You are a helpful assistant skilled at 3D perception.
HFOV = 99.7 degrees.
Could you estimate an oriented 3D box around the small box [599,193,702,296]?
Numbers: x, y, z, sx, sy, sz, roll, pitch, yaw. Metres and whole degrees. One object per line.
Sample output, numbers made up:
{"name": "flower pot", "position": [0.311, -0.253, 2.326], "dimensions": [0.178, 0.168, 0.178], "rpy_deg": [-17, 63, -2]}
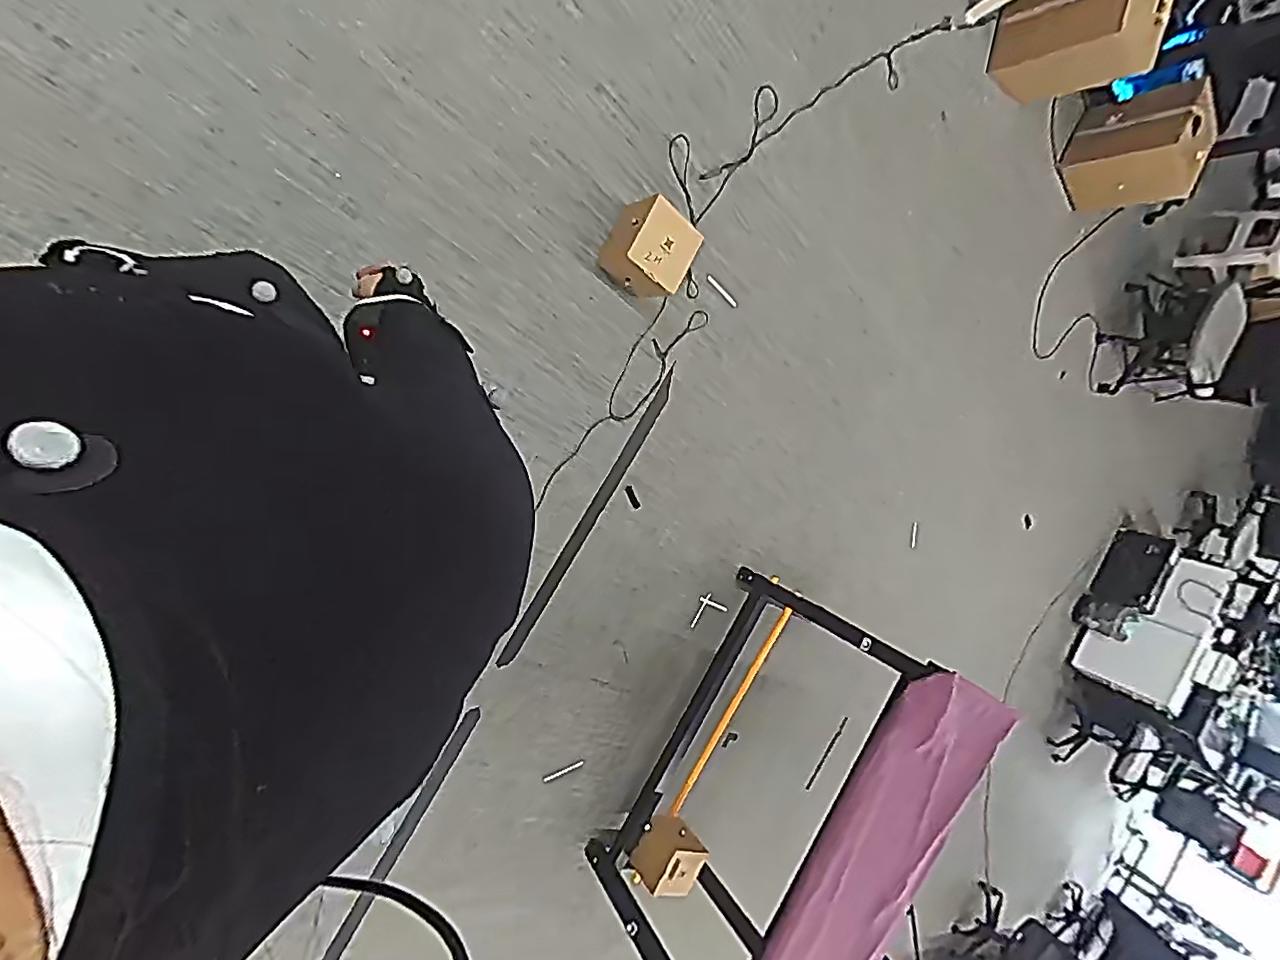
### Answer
{"name": "small box", "position": [0.020, -0.598, 1.393], "dimensions": [0.168, 0.176, 0.179], "rpy_deg": [29, 88, -34]}

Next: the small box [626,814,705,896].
{"name": "small box", "position": [0.084, 1.285, 1.860], "dimensions": [0.179, 0.176, 0.168], "rpy_deg": [33, 85, -36]}
